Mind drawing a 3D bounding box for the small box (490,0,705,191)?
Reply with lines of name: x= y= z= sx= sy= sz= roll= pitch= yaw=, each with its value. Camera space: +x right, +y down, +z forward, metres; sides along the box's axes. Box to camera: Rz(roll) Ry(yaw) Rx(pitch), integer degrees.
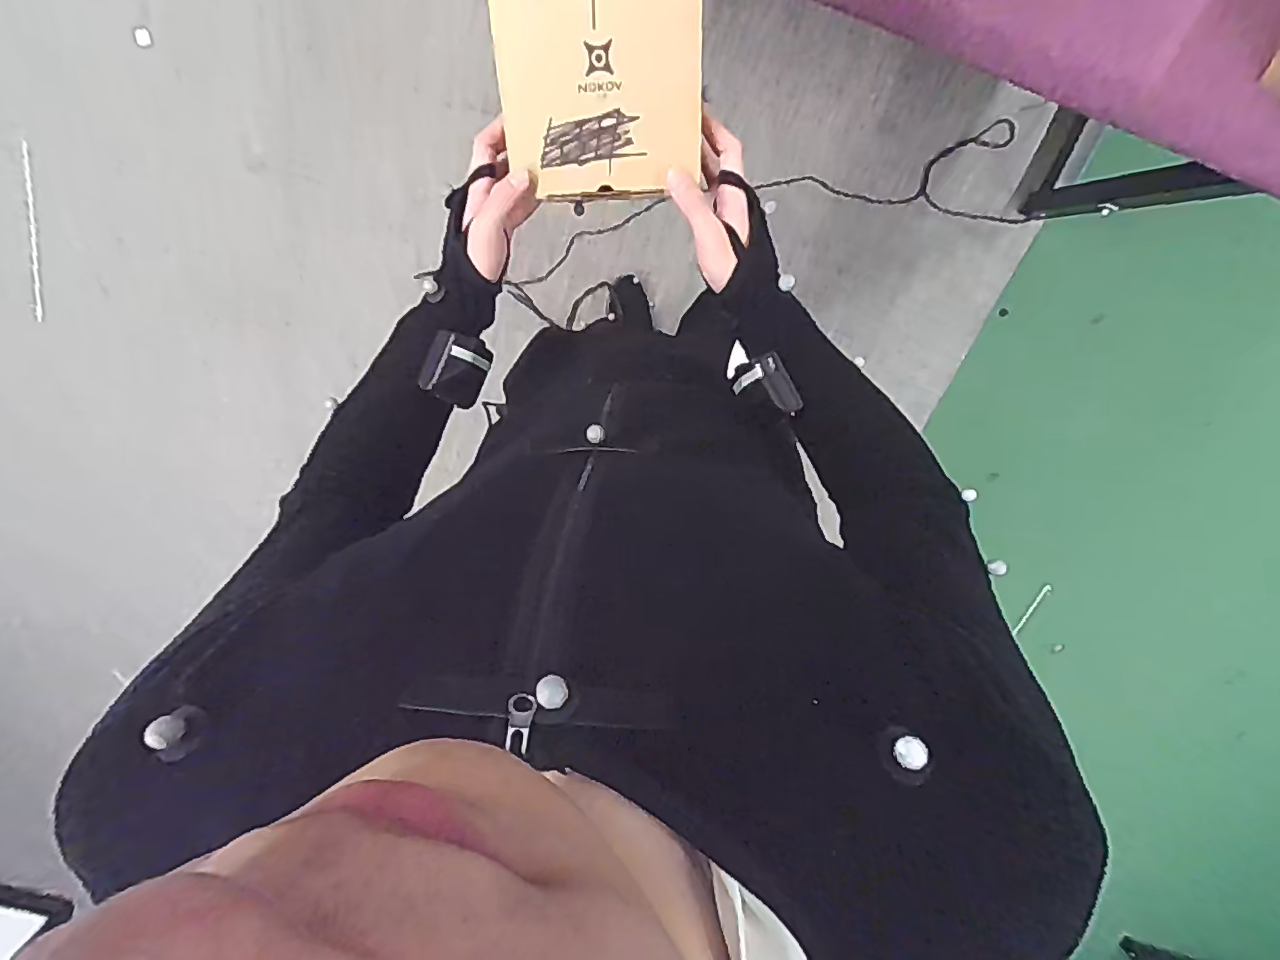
small box: x=-0.025 y=-0.366 z=0.497 sx=0.168 sy=0.176 sz=0.179 roll=1 pitch=116 yaw=5
